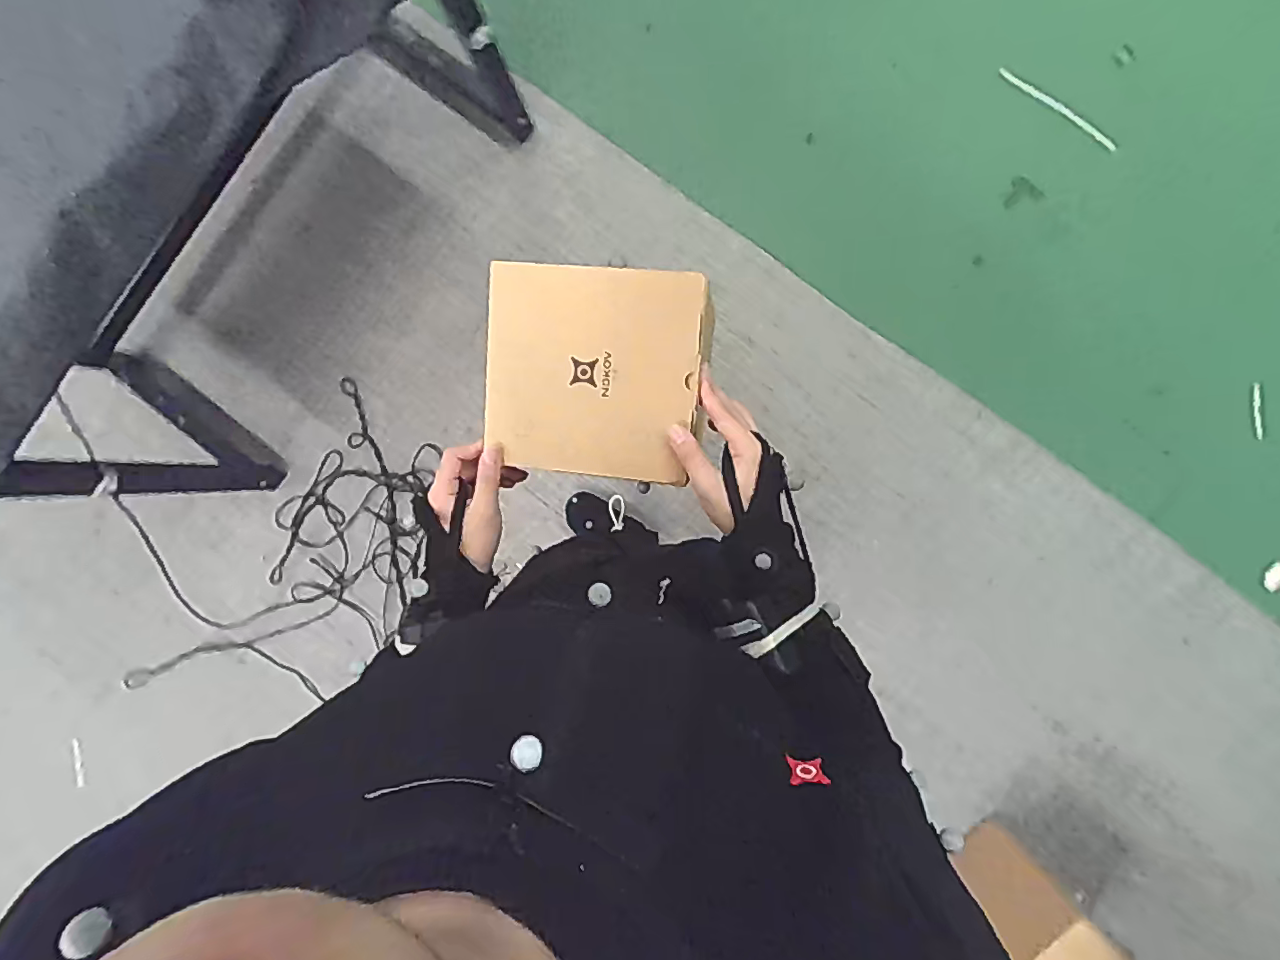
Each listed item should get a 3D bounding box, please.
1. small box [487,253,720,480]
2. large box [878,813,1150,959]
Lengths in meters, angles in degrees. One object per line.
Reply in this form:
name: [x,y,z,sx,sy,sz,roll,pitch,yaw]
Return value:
small box: [-0.022,-0.100,0.507,0.179,0.176,0.168,7,99,8]
large box: [0.790,1.016,1.119,0.320,0.320,0.408,44,95,5]
